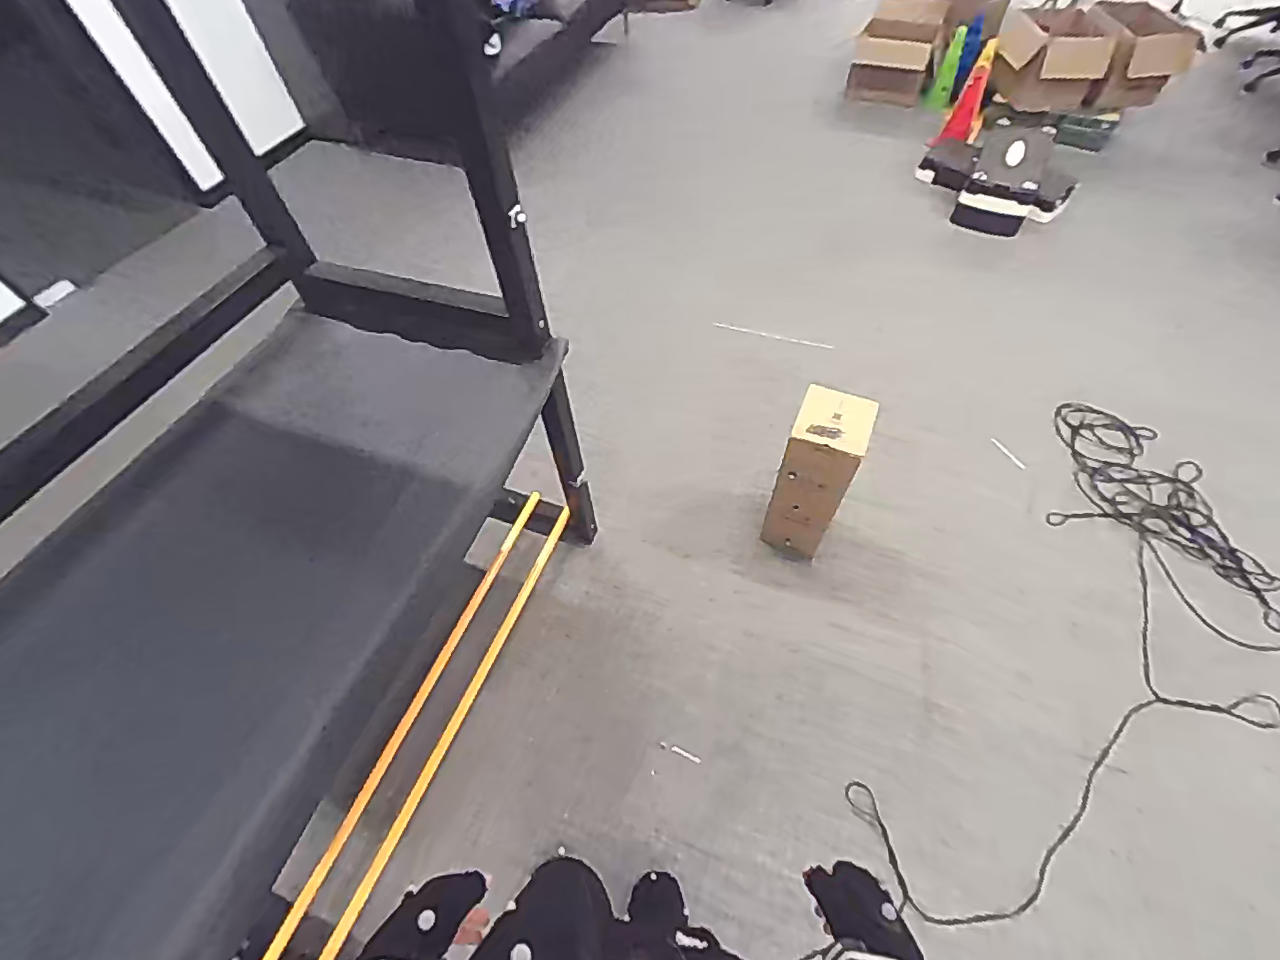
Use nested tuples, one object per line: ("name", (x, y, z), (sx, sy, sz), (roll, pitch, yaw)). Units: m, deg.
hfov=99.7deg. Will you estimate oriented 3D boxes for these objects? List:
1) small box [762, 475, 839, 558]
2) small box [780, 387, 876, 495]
("small box", (0.465, 0.096, 1.576), (0.168, 0.176, 0.179), (21, 60, 18))
("small box", (0.447, -0.090, 1.308), (0.168, 0.176, 0.179), (20, 59, 16))
